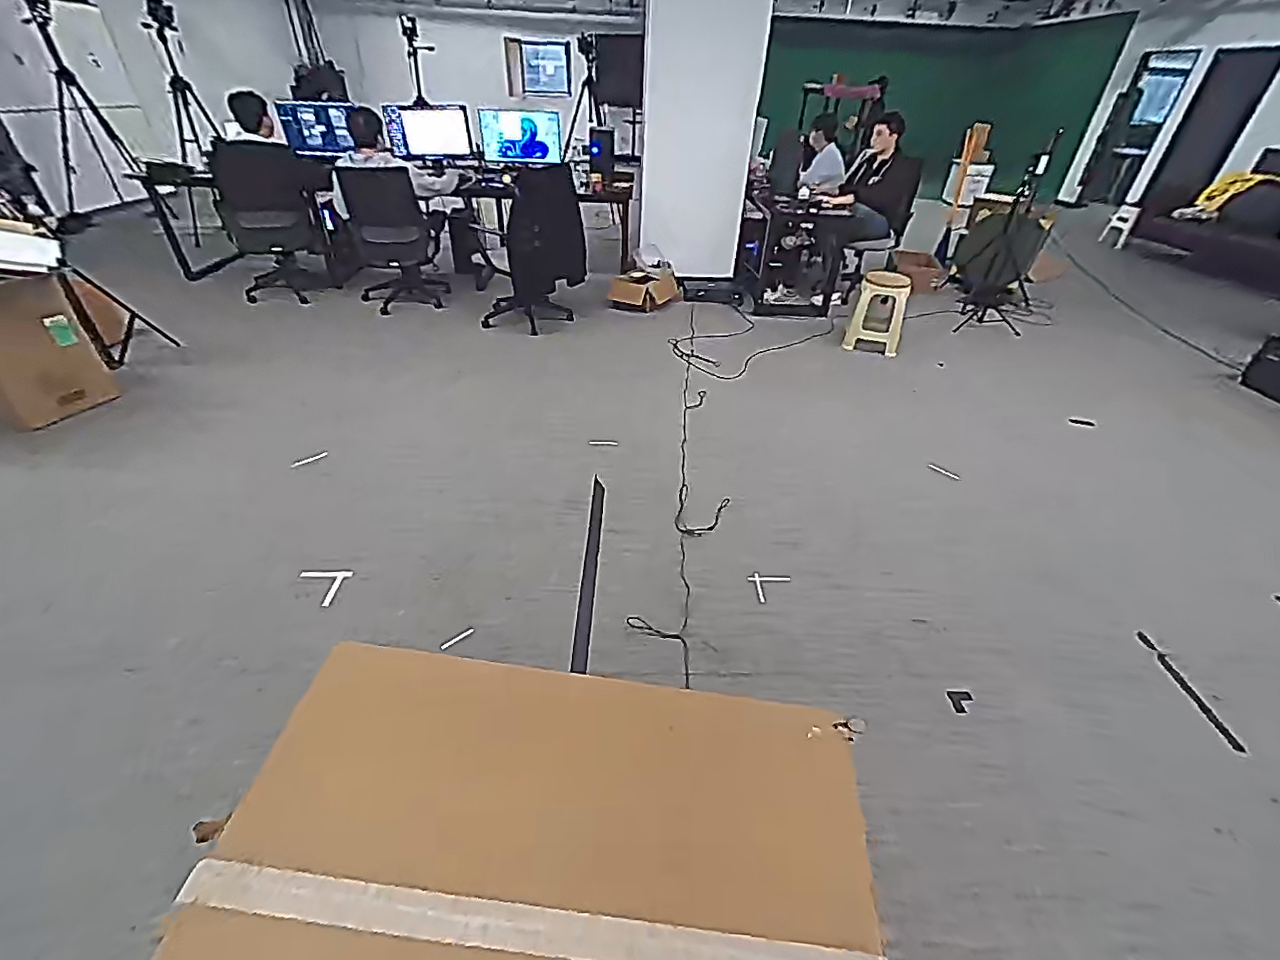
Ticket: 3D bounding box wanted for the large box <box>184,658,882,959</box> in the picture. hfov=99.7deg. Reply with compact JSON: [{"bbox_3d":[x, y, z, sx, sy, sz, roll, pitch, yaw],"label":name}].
[{"bbox_3d":[-0.066,0.376,0.422,0.408,0.320,0.320,8,44,0],"label":"large box"}]
